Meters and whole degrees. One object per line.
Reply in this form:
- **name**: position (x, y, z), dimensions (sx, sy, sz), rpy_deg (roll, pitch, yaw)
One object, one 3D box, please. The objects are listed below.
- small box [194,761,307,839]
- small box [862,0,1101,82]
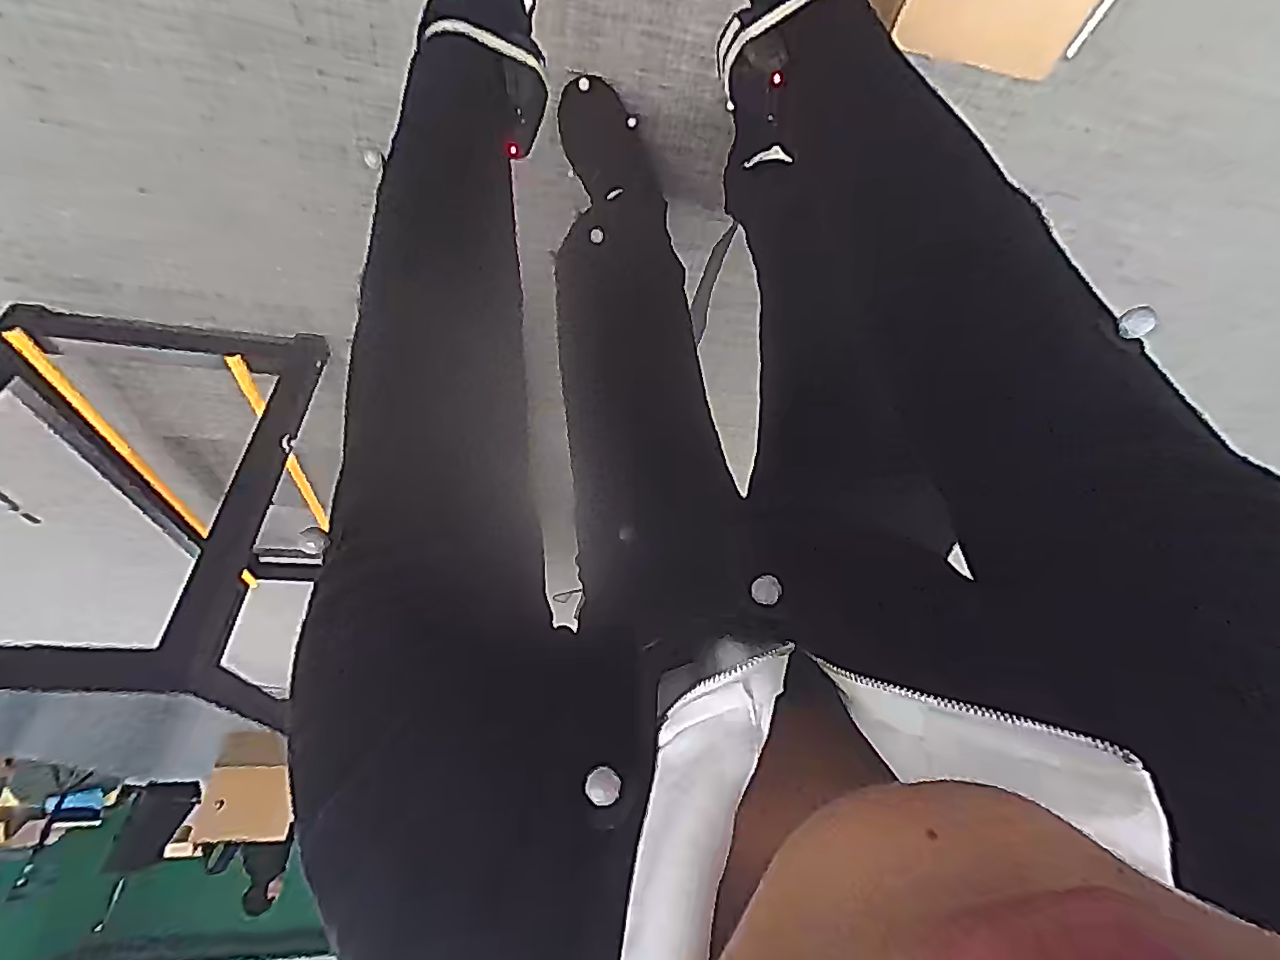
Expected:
- **small box**: position (-1.029, 0.857, 1.446), dimensions (0.179, 0.176, 0.168), rpy_deg (5, 147, -12)
- **small box**: position (0.318, -0.502, 0.485), dimensions (0.179, 0.176, 0.168), rpy_deg (4, 147, -11)
